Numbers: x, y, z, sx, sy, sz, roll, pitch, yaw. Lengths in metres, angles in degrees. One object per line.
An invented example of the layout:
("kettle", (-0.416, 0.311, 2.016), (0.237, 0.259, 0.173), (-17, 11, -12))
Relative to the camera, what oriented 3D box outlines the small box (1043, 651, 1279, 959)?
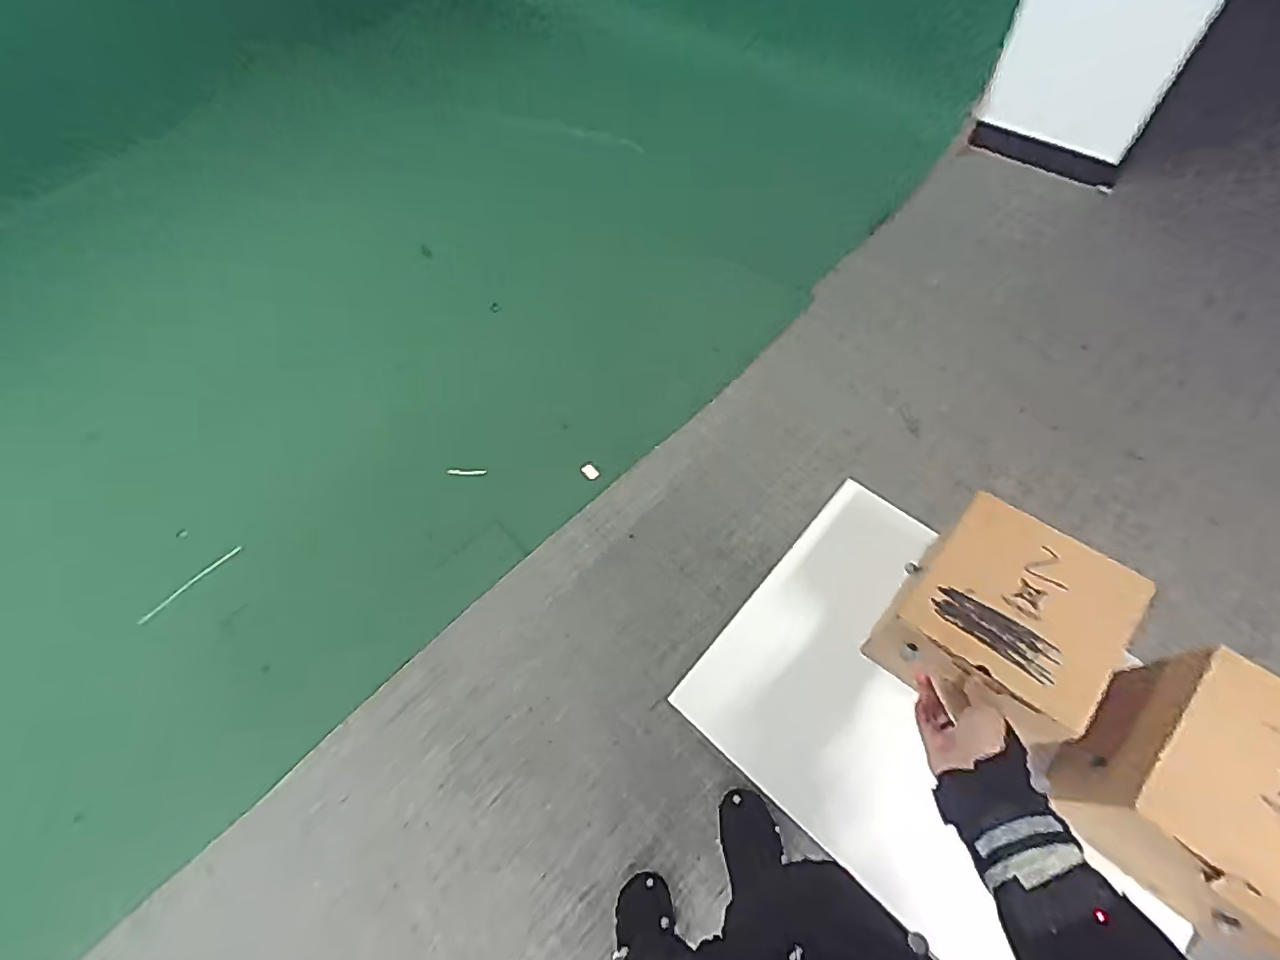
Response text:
("small box", (0.515, 0.290, 0.488), (0.168, 0.176, 0.179), (38, 73, 23))
